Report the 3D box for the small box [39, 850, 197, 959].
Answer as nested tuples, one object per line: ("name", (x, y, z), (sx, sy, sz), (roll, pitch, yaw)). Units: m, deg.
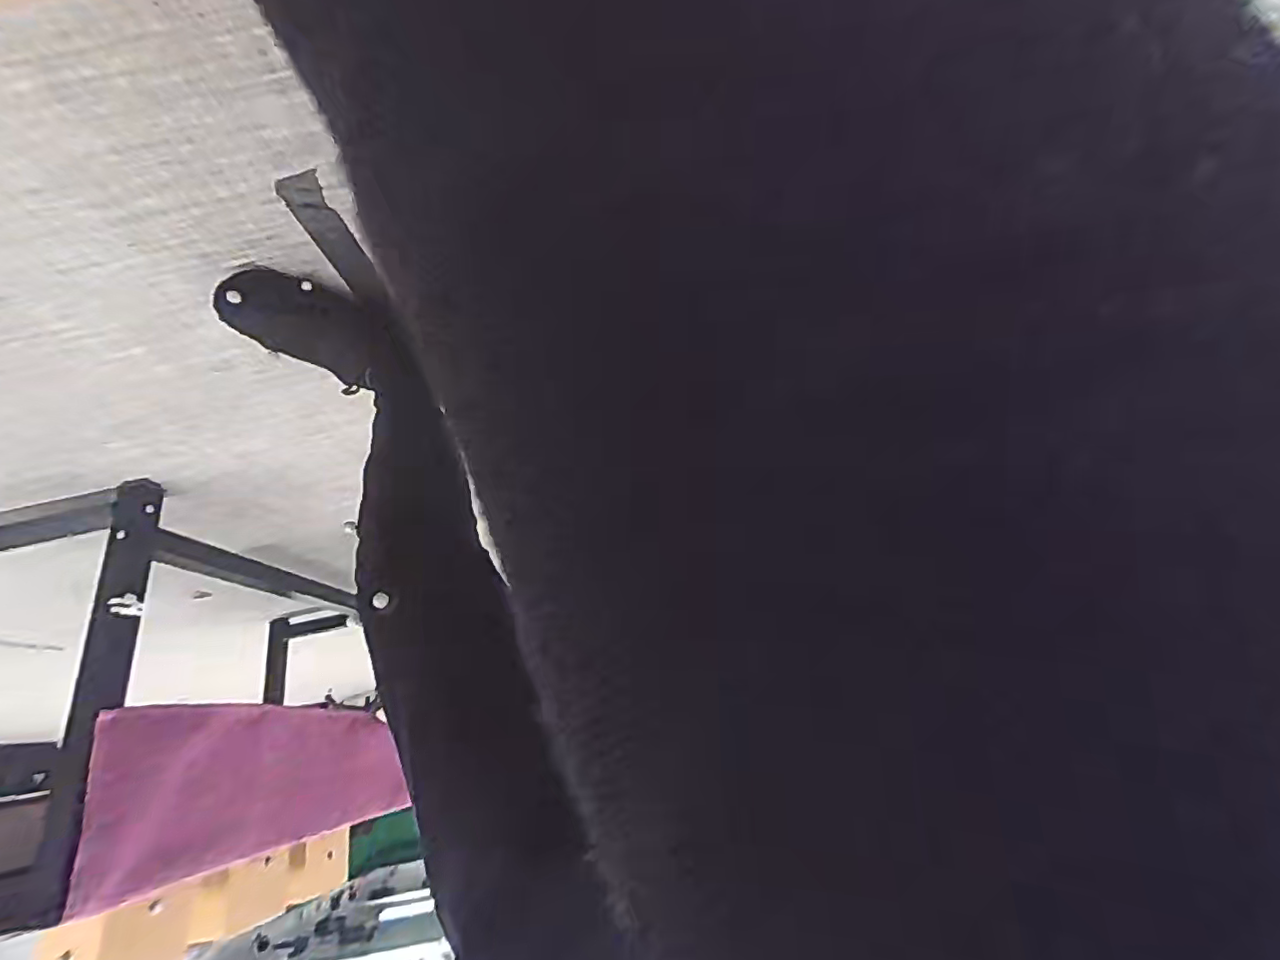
("small box", (-1.049, 0.876, 1.100), (0.179, 0.176, 0.168), (-17, 157, 12))
